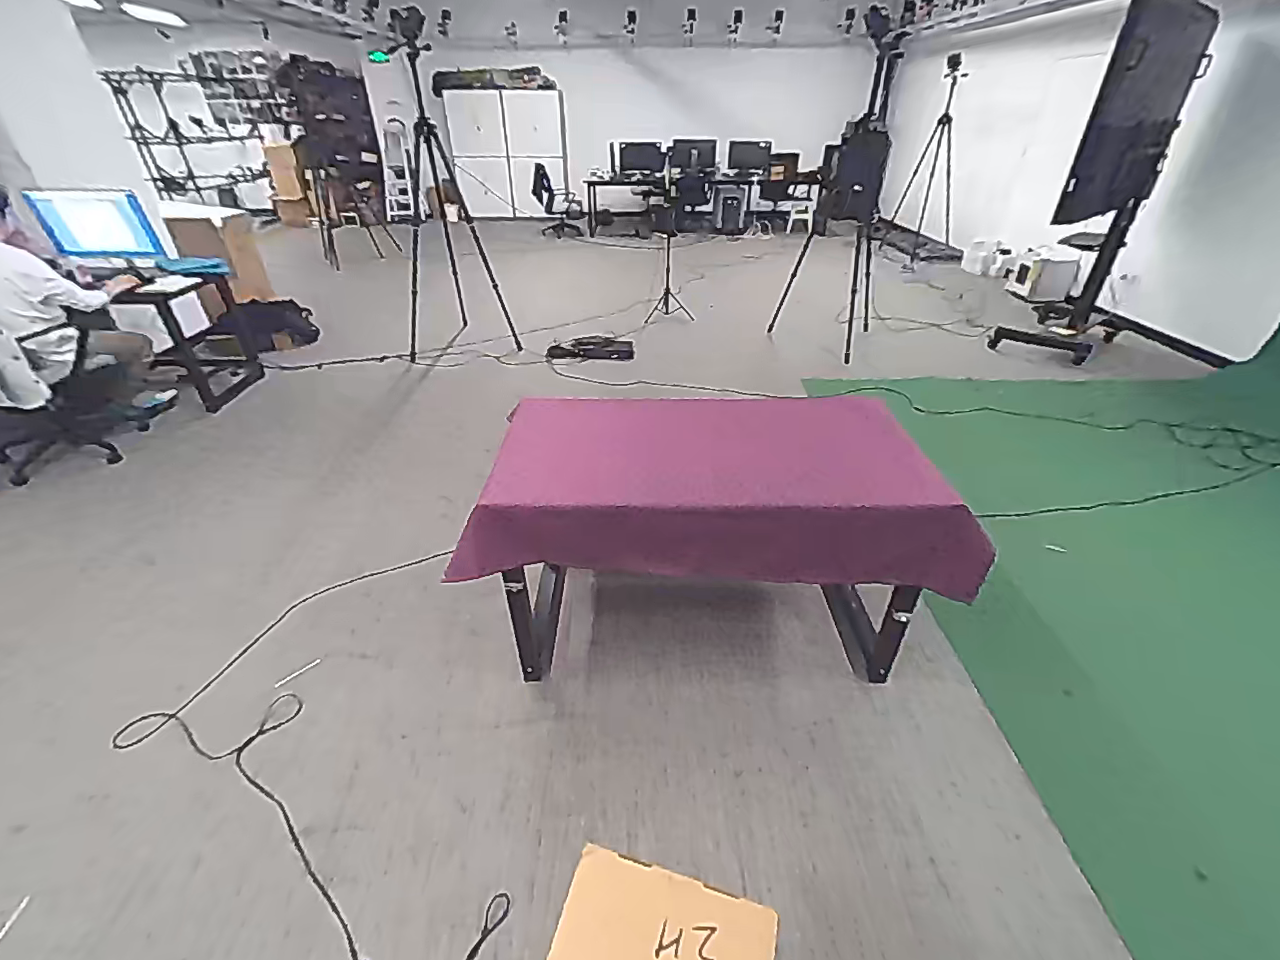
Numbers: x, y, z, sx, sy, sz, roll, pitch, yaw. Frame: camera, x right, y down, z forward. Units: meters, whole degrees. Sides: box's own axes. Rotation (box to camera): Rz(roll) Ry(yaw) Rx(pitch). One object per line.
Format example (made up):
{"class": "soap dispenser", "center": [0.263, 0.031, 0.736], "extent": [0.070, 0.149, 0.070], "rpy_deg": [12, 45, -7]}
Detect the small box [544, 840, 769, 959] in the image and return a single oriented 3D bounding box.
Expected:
{"class": "small box", "center": [0.006, 0.448, 0.453], "extent": [0.168, 0.176, 0.179], "rpy_deg": [11, 45, 14]}
